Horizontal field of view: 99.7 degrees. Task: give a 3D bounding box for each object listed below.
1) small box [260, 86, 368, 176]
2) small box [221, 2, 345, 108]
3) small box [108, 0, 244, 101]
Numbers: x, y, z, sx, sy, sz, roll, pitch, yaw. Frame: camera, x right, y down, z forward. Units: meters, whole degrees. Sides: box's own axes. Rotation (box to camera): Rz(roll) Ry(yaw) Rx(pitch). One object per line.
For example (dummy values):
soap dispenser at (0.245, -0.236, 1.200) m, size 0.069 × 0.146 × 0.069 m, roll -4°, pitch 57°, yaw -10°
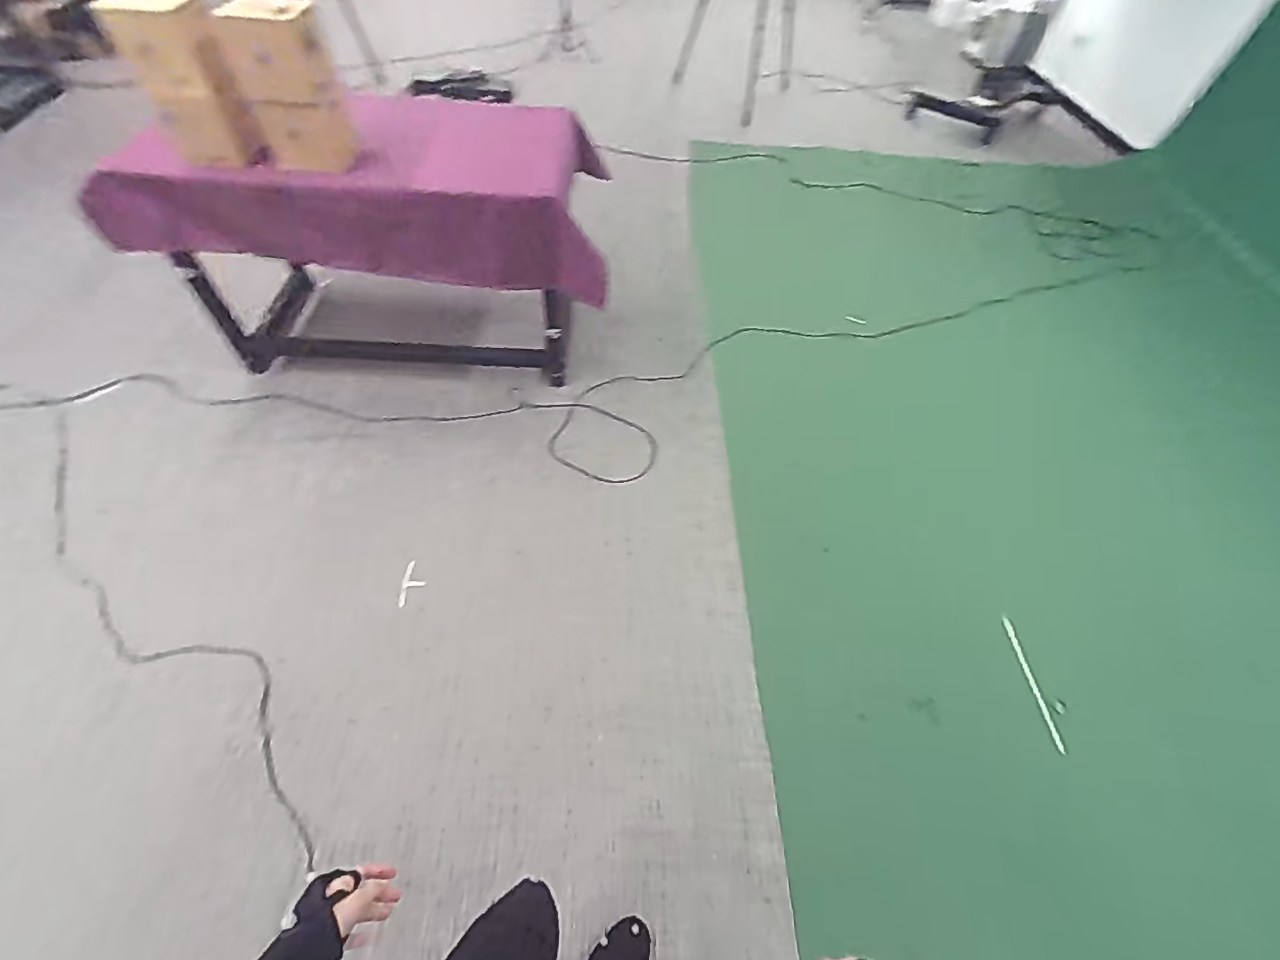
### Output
small box at (-0.876, -0.952, 1.472) m, size 0.179 × 0.176 × 0.168 m, roll 1°, pitch 54°, yaw -3°
small box at (-0.867, -1.046, 1.337) m, size 0.179 × 0.176 × 0.168 m, roll 2°, pitch 53°, yaw -2°
small box at (-1.127, -1.062, 1.335) m, size 0.168 × 0.176 × 0.179 m, roll -1°, pitch 52°, yaw -5°
